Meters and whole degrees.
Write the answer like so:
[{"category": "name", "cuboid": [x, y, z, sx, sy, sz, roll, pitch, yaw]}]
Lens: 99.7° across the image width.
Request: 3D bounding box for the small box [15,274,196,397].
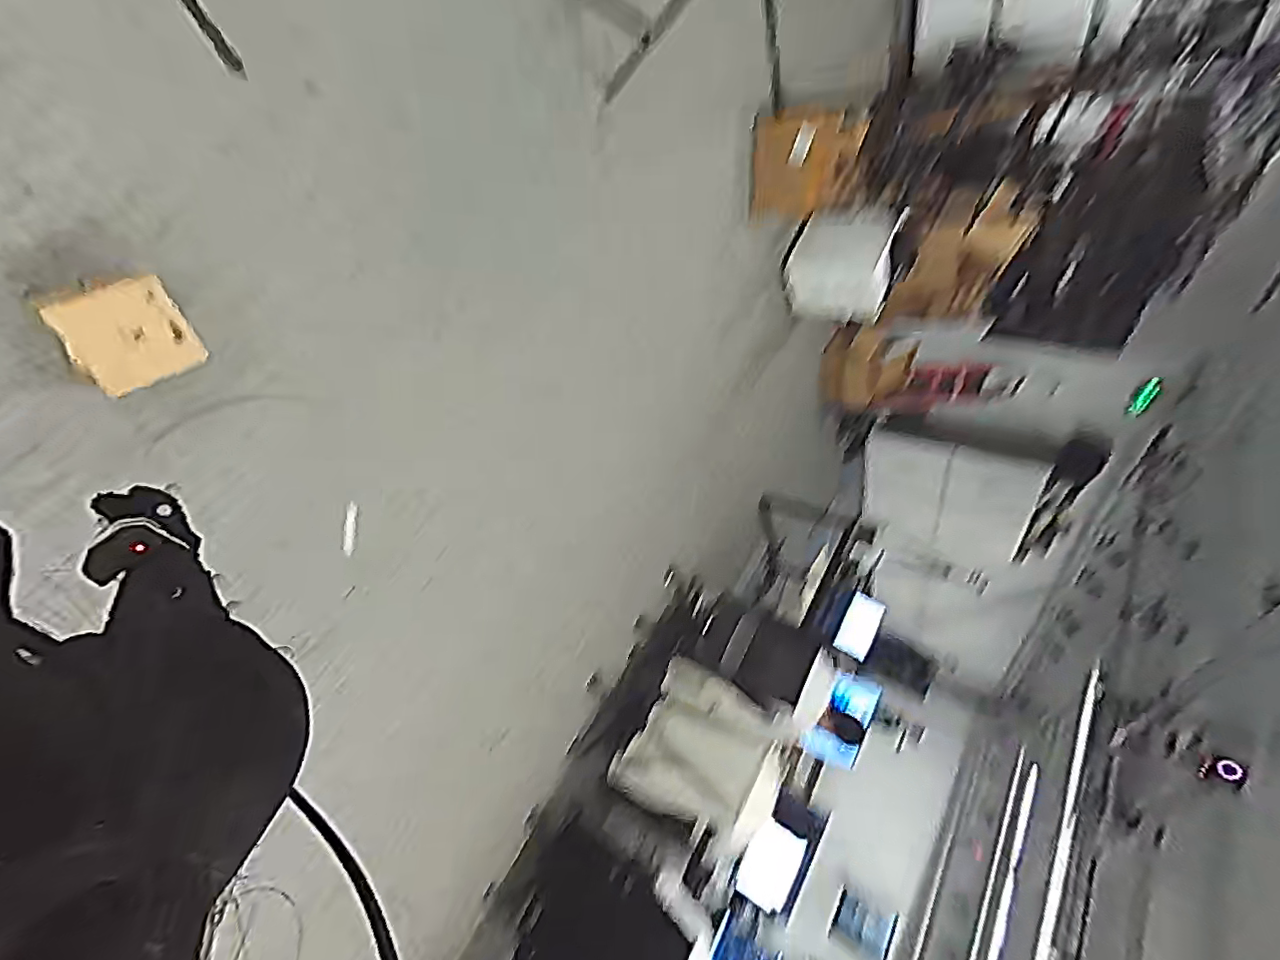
[{"category": "small box", "cuboid": [-0.997, -0.275, 1.010, 0.179, 0.176, 0.168, -43, 138, -37]}]
